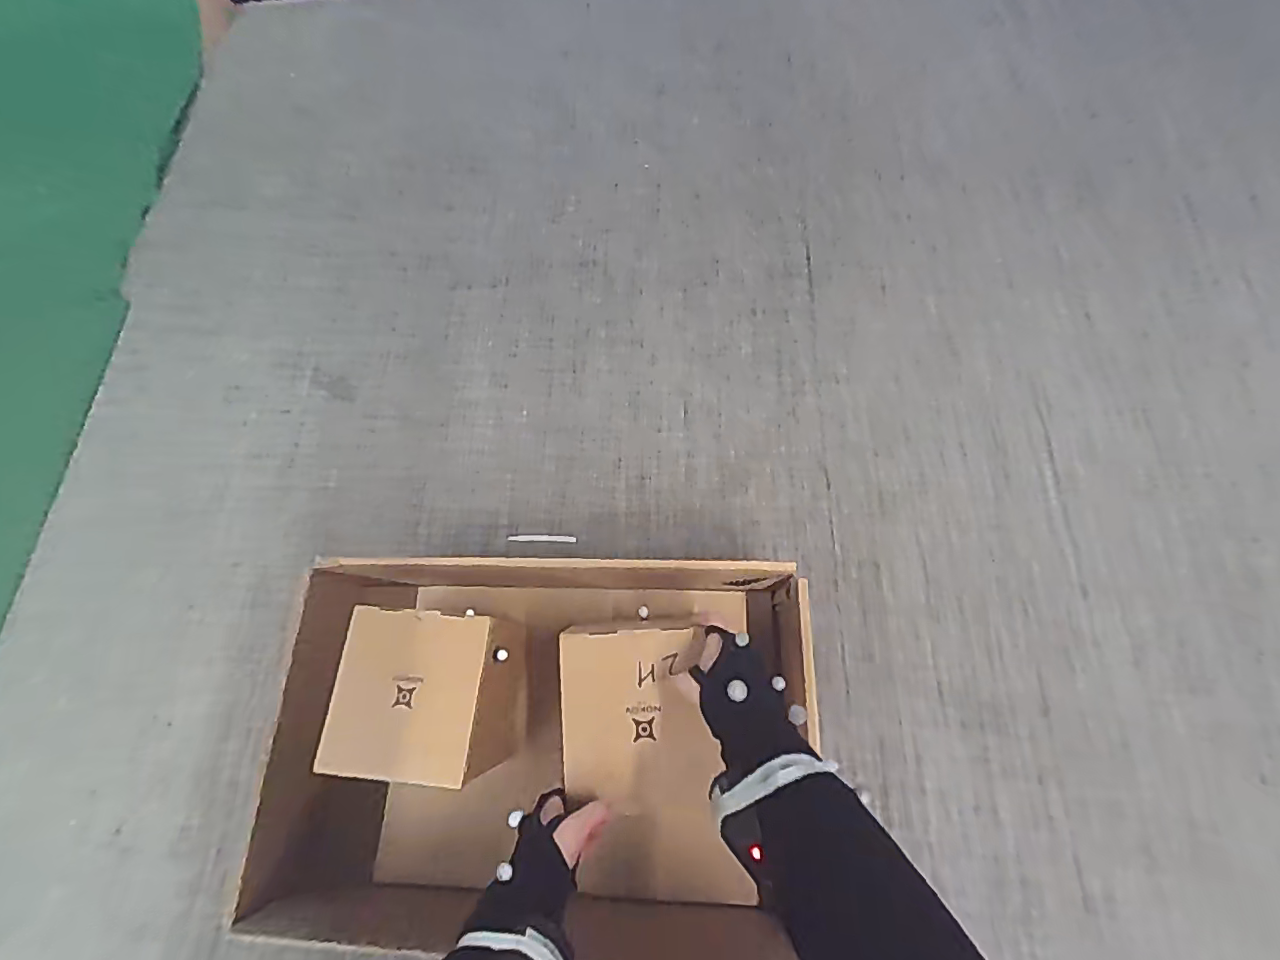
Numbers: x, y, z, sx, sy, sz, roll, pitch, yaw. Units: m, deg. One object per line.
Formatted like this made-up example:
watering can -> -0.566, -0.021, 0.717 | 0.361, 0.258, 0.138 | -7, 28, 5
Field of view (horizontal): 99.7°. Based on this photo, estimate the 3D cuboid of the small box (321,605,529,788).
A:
small box -> -0.247, 0.258, 0.669 | 0.168, 0.176, 0.179 | 4, 71, 6

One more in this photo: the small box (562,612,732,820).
small box -> 0.007, 0.250, 0.611 | 0.168, 0.176, 0.179 | -3, 82, 0
